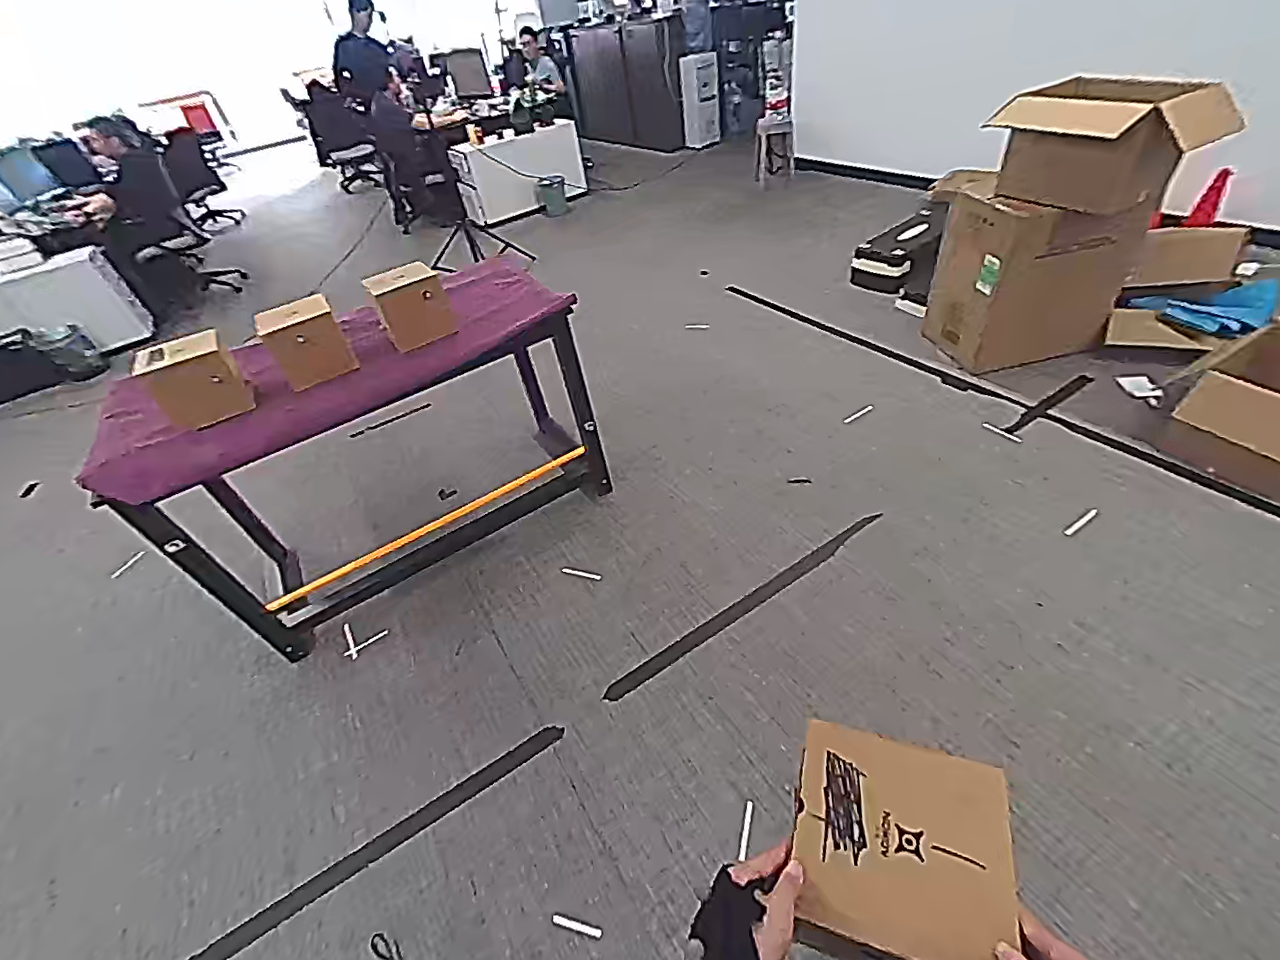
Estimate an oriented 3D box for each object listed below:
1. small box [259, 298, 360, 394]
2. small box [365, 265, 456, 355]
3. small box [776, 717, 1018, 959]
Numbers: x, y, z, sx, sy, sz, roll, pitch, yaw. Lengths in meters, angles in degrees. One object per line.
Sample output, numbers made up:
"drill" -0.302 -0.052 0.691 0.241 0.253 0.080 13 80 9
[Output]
"small box" -0.882 -0.360 1.456 0.179 0.176 0.168 -29 45 -18
"small box" -0.640 -0.479 1.526 0.179 0.176 0.168 -30 43 -19
"small box" 0.231 0.361 0.521 0.179 0.176 0.168 8 48 19
